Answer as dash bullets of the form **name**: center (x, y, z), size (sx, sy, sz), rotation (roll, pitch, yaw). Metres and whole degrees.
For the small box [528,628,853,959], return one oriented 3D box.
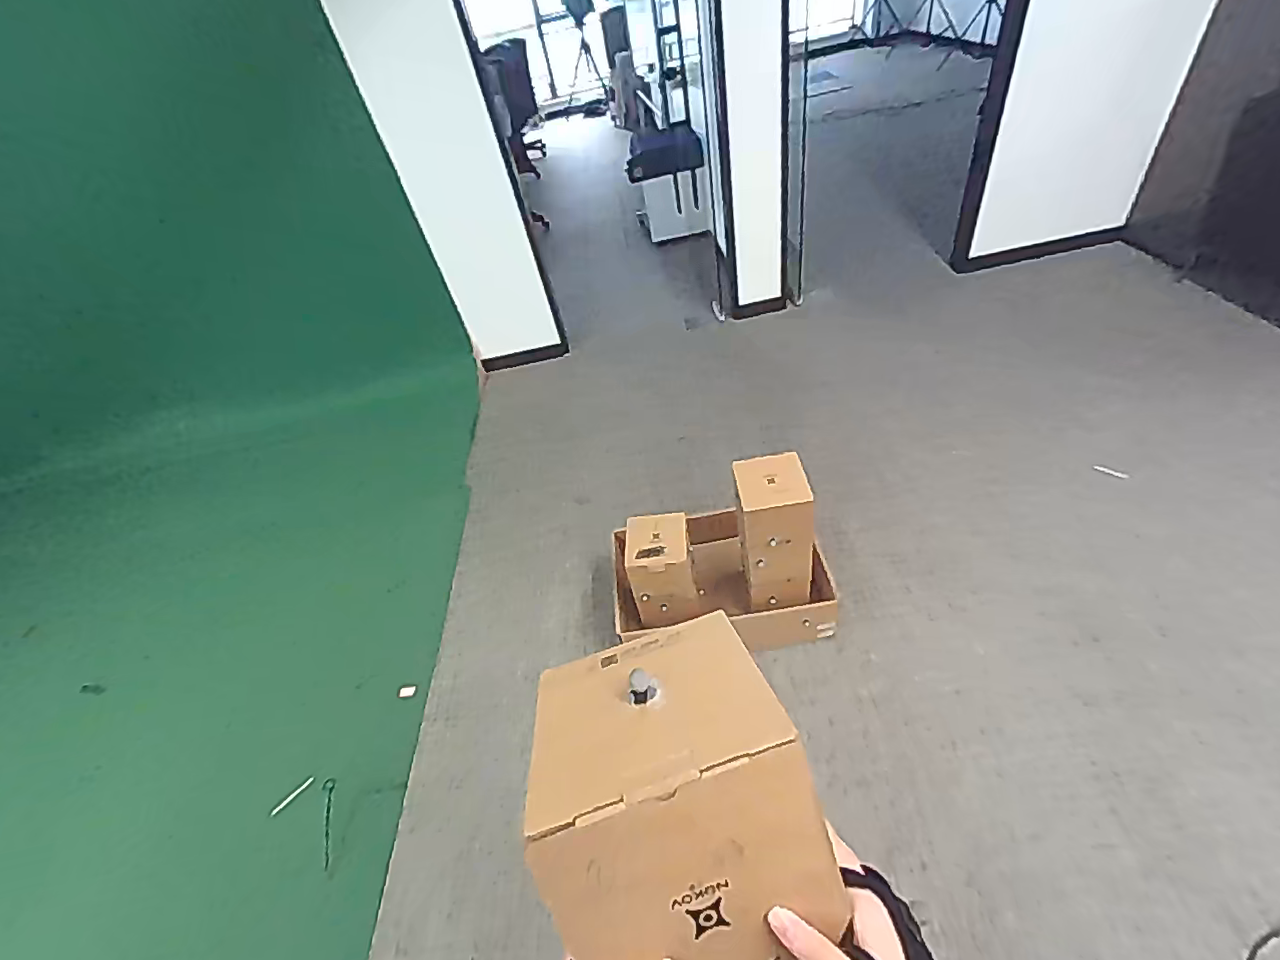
- **small box**: center (0.027, 0.231, 0.402), size (0.168, 0.179, 0.176), rotation (-18, 12, -2)

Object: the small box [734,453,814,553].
- **small box**: center (0.333, 0.059, 1.364), size (0.168, 0.176, 0.179), rotation (-9, 44, 6)

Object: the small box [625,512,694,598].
- **small box**: center (0.058, 0.215, 1.507), size (0.168, 0.176, 0.179), rotation (-6, 43, 8)
